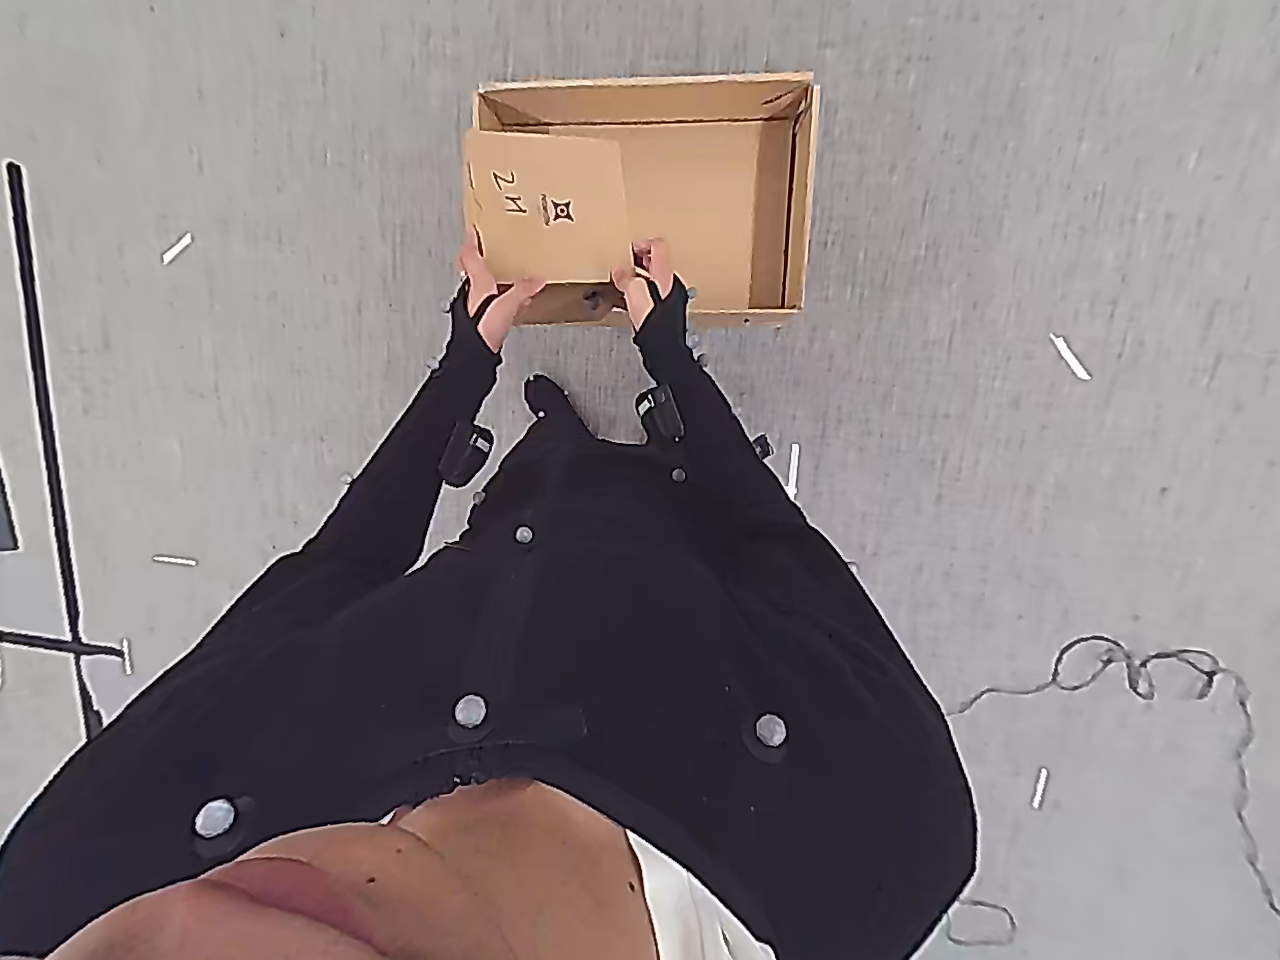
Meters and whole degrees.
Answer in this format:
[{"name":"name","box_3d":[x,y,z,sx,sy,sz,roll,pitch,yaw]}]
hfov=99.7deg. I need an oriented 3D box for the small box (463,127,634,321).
[{"name":"small box","box_3d":[-0.122,-0.303,0.676,0.179,0.176,0.168,-8,93,-18]}]
